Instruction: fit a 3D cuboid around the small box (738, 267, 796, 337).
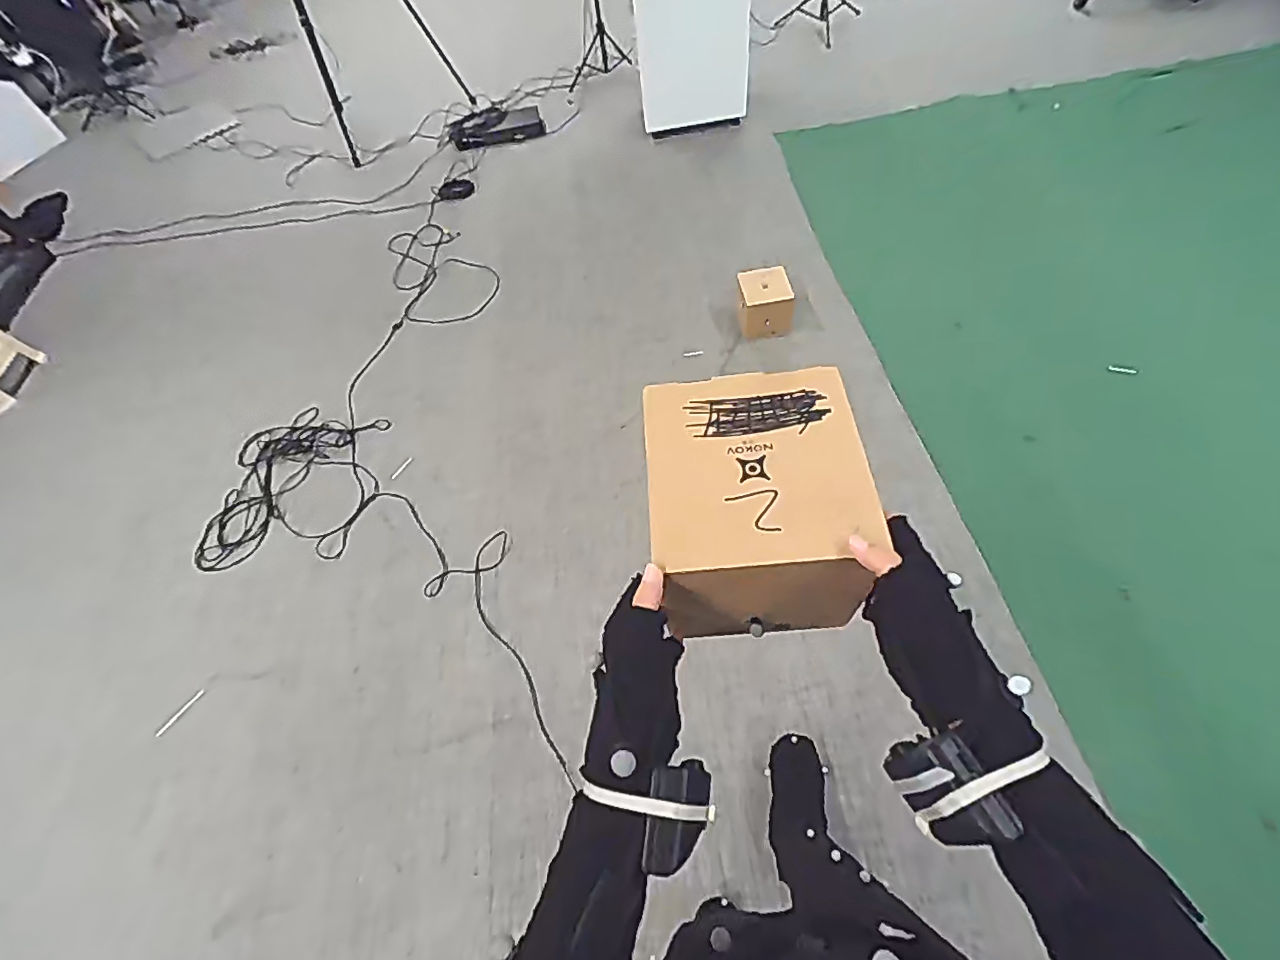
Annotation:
[{"bbox_3d":[0.450,-0.630,1.938,0.168,0.176,0.179,-9,58,2],"label":"small box"}]
